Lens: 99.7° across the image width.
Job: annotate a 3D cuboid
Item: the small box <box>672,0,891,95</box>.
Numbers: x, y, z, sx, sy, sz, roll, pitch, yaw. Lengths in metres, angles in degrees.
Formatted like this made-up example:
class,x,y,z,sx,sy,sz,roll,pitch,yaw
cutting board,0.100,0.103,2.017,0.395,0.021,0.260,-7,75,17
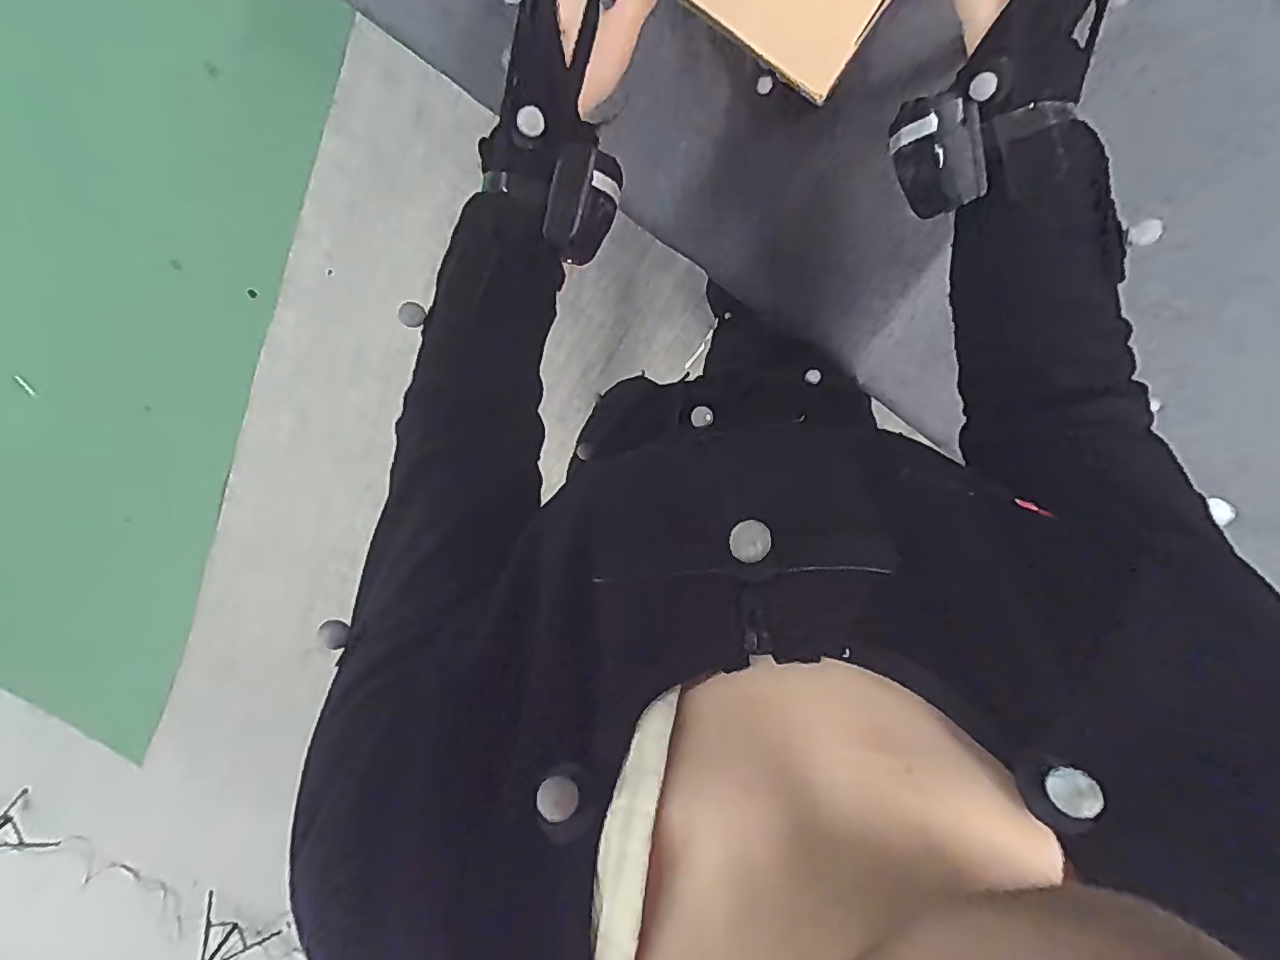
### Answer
class,x,y,z,sx,sy,sz,roll,pitch,yaw
small box,0.103,-0.380,0.347,0.179,0.176,0.168,32,124,-3
